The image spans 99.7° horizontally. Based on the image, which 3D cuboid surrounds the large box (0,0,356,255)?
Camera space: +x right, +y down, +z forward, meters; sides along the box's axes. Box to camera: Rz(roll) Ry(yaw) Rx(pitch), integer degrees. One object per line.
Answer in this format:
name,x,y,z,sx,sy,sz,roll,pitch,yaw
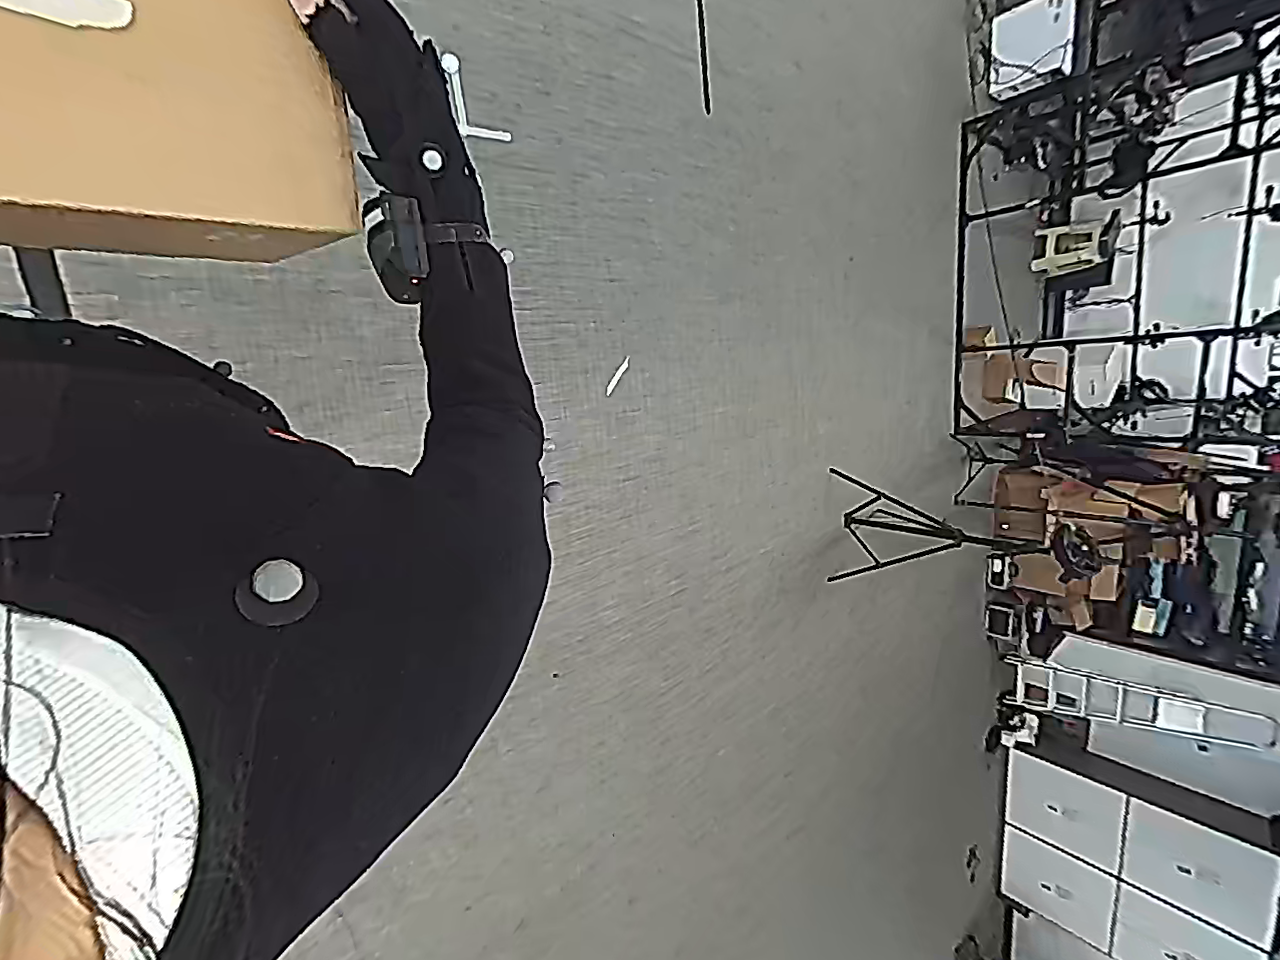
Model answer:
large box,-0.463,-0.327,0.342,0.408,0.320,0.320,-16,114,-41
